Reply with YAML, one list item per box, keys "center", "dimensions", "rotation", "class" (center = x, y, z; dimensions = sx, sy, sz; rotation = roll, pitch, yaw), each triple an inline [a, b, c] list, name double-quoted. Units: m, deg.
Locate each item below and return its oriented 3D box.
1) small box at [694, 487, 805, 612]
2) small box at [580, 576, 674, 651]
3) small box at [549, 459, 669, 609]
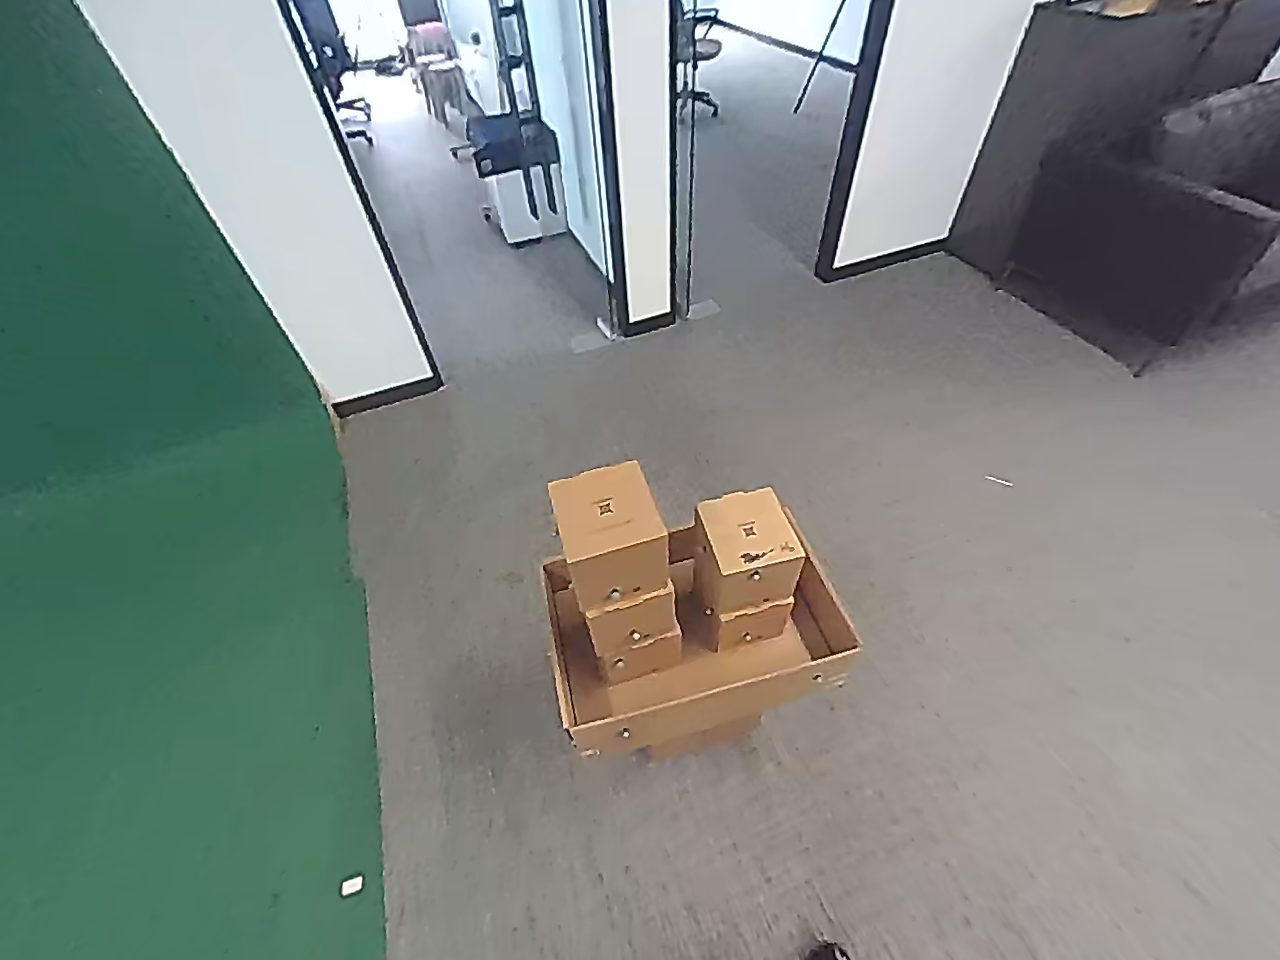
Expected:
- center: [0.212, 0.143, 1.107]
  dimensions: [0.168, 0.176, 0.179]
  rotation: [-11, 51, -7]
  class: "small box"
- center: [-0.040, 0.205, 1.063]
  dimensions: [0.168, 0.176, 0.179]
  rotation: [-15, 52, -9]
  class: "small box"
- center: [-0.053, 0.095, 0.943]
  dimensions: [0.168, 0.176, 0.179]
  rotation: [-14, 51, -9]
  class: "small box"
